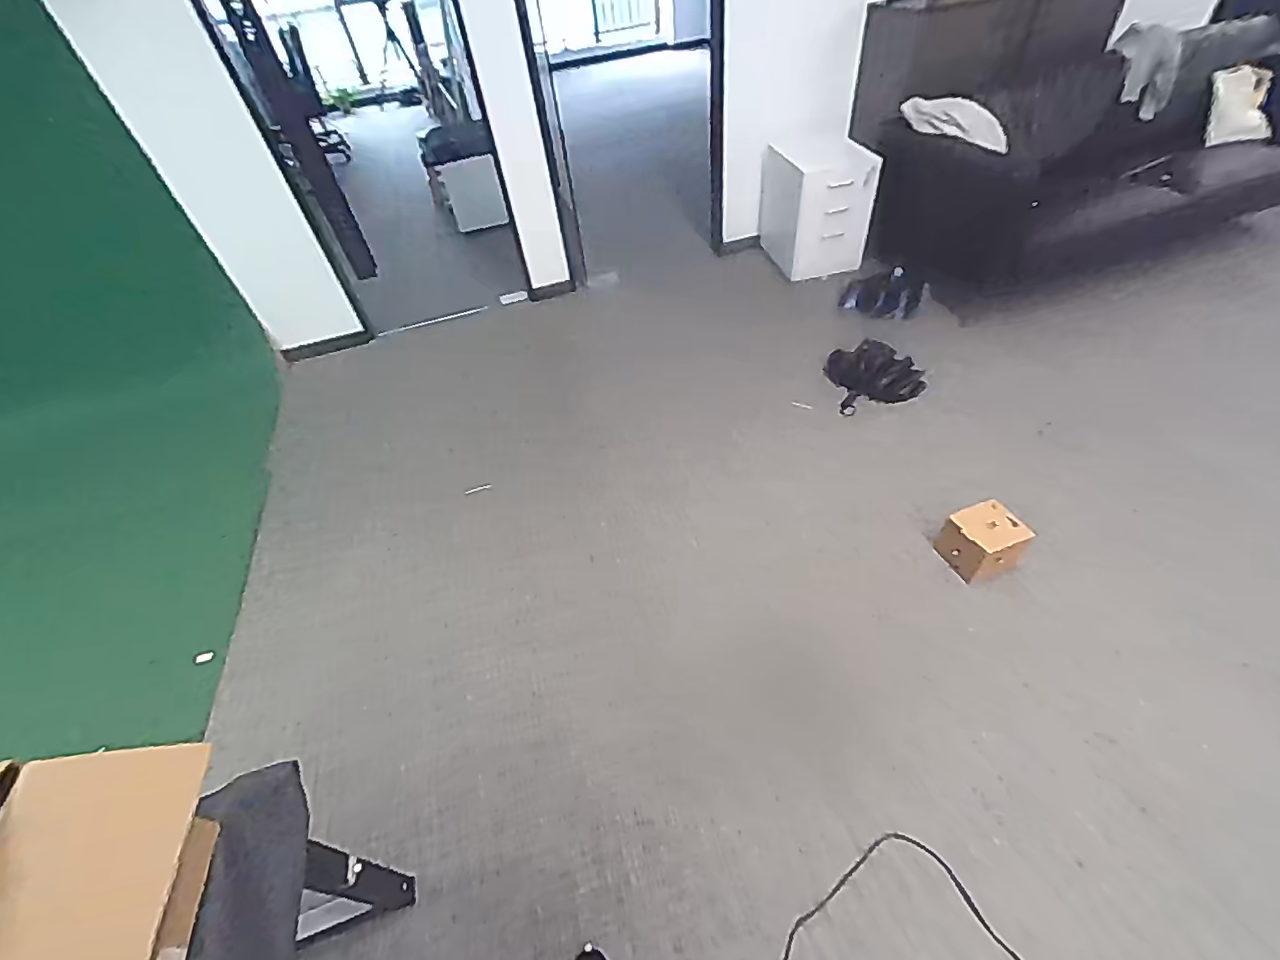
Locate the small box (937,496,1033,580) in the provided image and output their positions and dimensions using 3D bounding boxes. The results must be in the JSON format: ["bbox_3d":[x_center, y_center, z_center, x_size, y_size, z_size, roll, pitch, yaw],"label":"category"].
[{"bbox_3d":[1.063,0.185,1.689,0.179,0.176,0.168,-19,48,-9],"label":"small box"}]
